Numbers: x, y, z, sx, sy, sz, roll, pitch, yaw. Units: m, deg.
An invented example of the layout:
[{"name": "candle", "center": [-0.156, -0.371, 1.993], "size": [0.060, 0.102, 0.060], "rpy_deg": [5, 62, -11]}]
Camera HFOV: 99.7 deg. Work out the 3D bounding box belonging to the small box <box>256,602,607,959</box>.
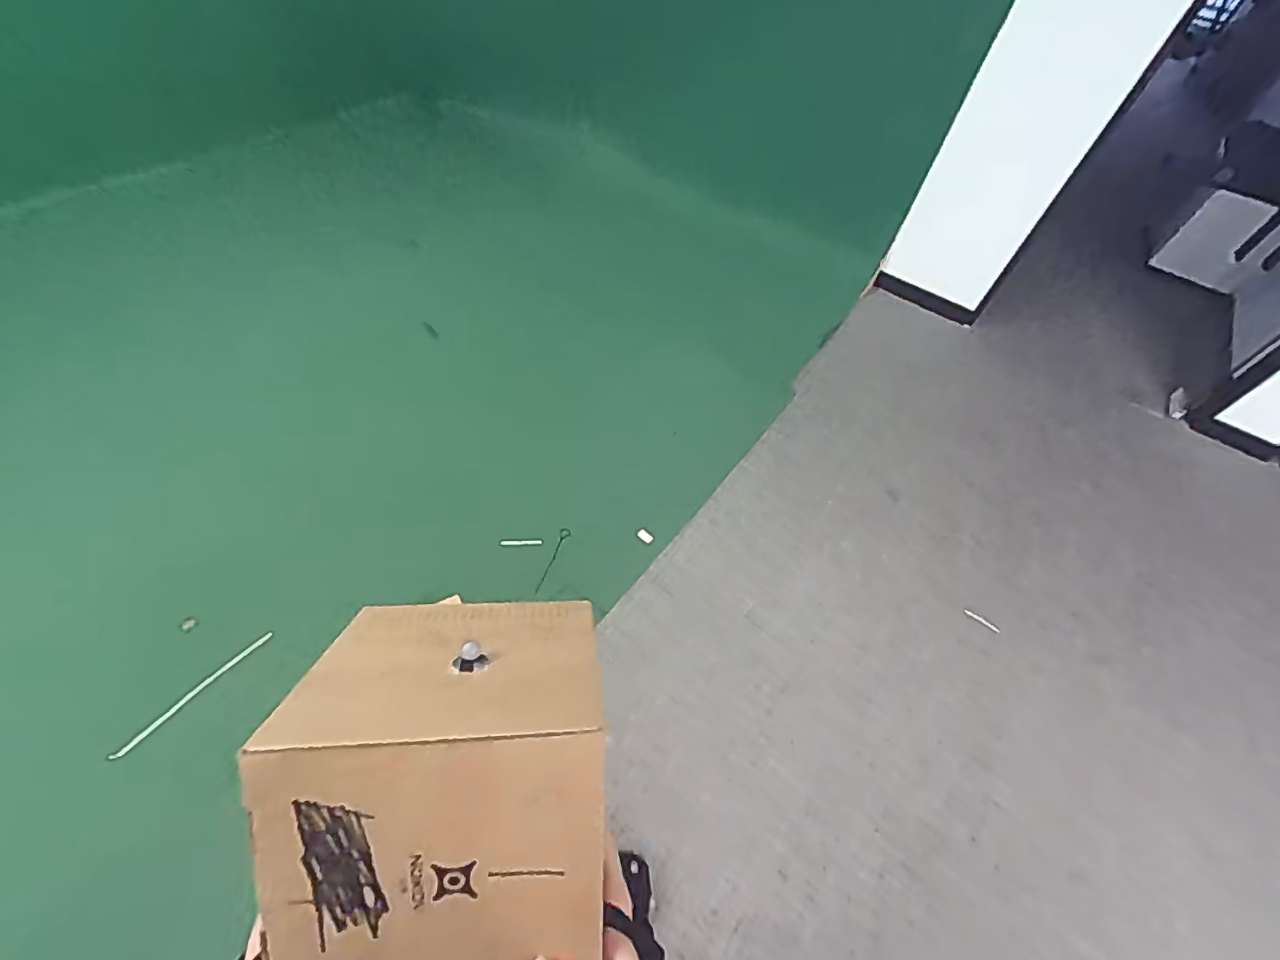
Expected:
[{"name": "small box", "center": [-0.117, 0.191, 0.368], "size": [0.179, 0.168, 0.176], "rpy_deg": [0, 10, -9]}]
